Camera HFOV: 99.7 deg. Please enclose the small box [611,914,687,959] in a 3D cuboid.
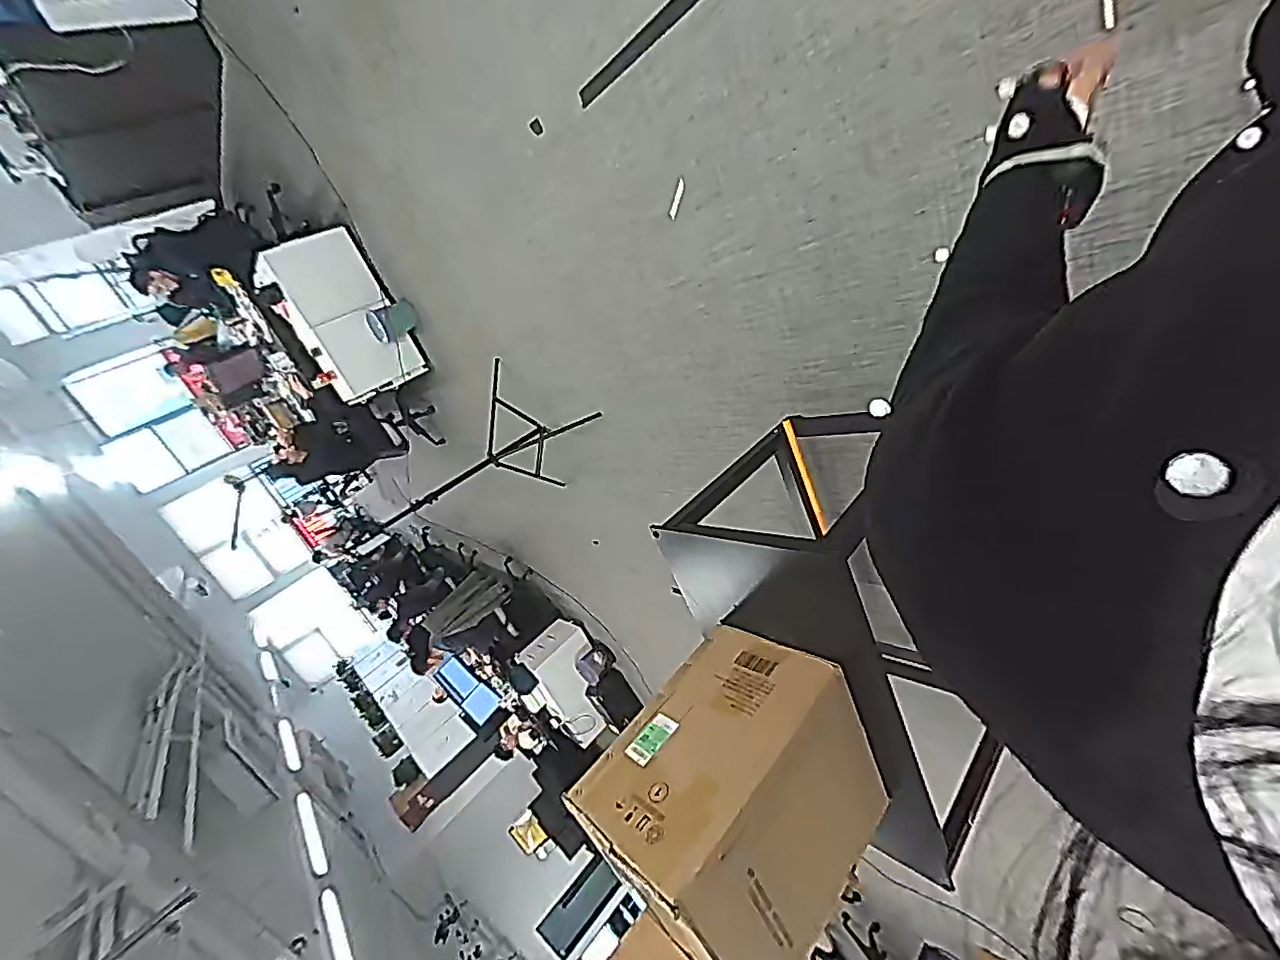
[{"bbox_3d":[0.033,1.170,1.247,0.179,0.176,0.168,2,123,53],"label":"small box"}]
